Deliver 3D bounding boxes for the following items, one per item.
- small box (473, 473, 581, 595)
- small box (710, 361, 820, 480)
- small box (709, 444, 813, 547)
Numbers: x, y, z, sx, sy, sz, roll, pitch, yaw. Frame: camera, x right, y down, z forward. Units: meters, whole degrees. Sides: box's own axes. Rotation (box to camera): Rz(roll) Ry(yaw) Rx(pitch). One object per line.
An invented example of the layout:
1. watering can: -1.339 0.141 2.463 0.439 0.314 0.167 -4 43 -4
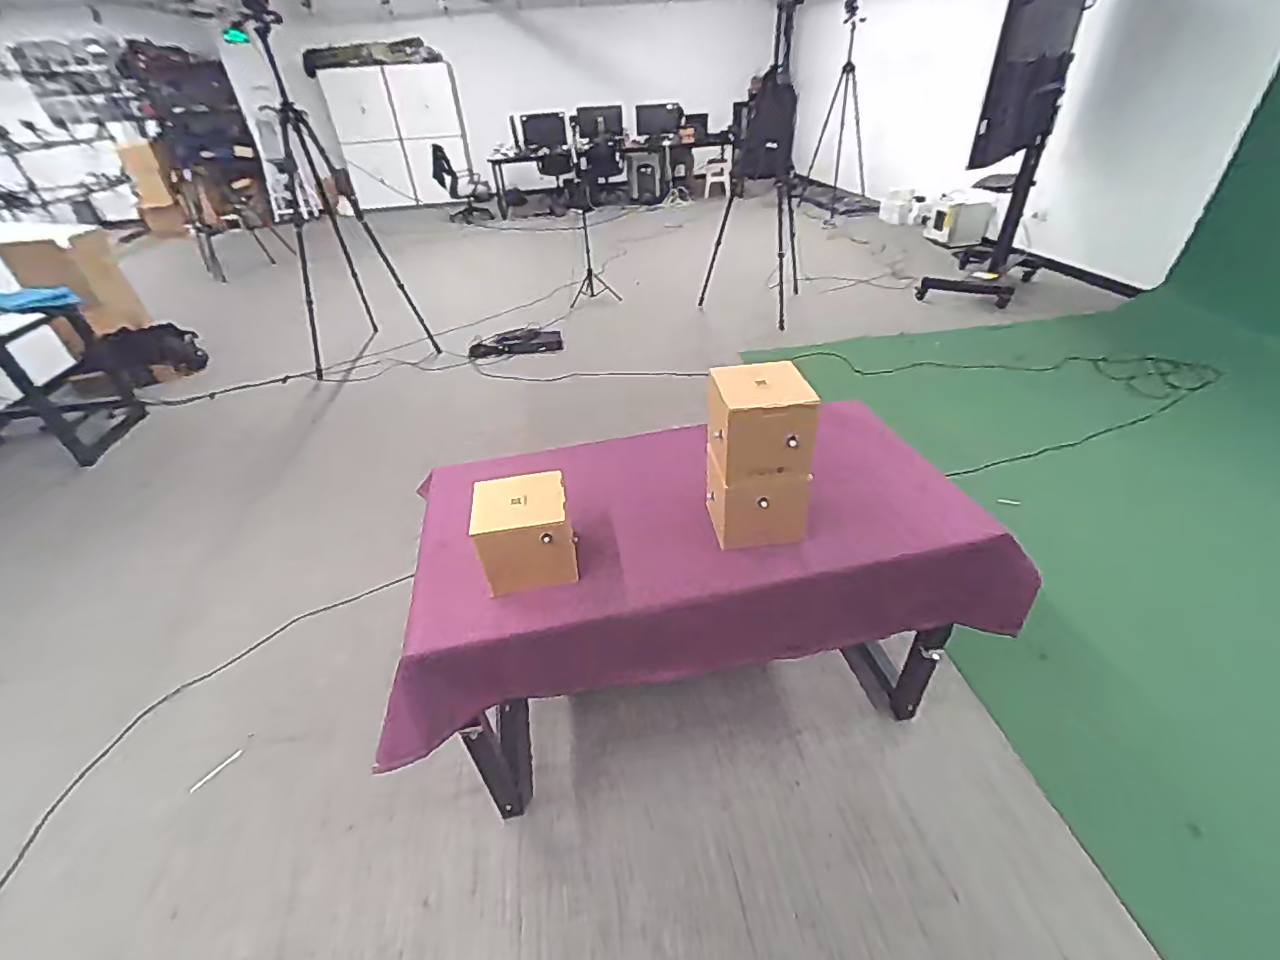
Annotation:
1. small box: -0.222 0.110 1.085 0.179 0.176 0.168 -9 36 -6
2. small box: 0.233 -0.110 1.048 0.168 0.176 0.179 -6 36 -2
3. small box: 0.246 0.026 1.137 0.179 0.176 0.168 -7 37 -2
